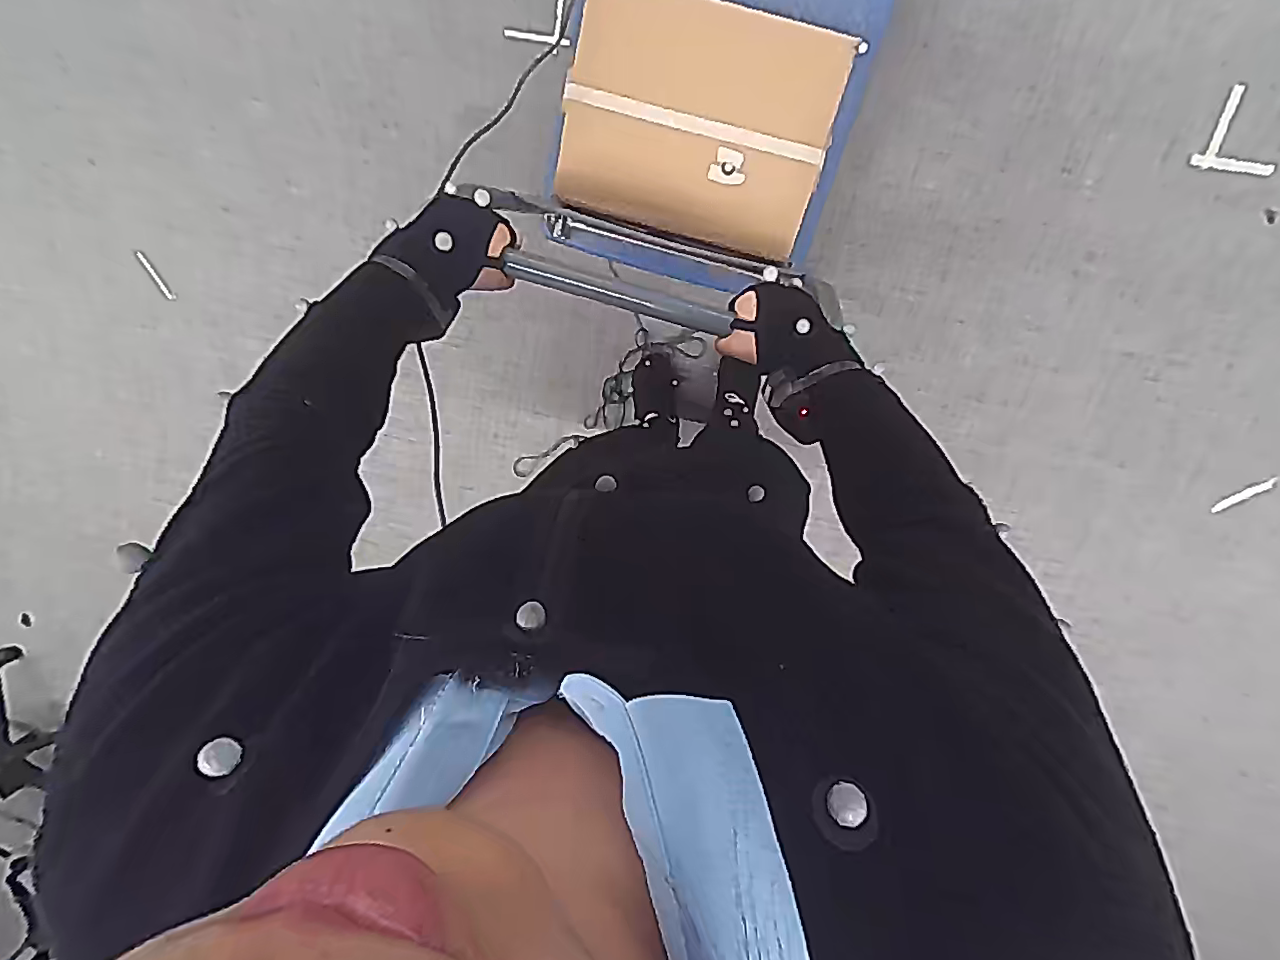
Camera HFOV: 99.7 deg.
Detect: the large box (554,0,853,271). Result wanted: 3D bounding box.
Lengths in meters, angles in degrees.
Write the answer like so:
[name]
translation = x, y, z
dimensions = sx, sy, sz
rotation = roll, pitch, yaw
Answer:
[large box]
translation = 0.094, -0.583, 0.971
dimensions = 0.408, 0.320, 0.320
rotation = 15, 112, 0
